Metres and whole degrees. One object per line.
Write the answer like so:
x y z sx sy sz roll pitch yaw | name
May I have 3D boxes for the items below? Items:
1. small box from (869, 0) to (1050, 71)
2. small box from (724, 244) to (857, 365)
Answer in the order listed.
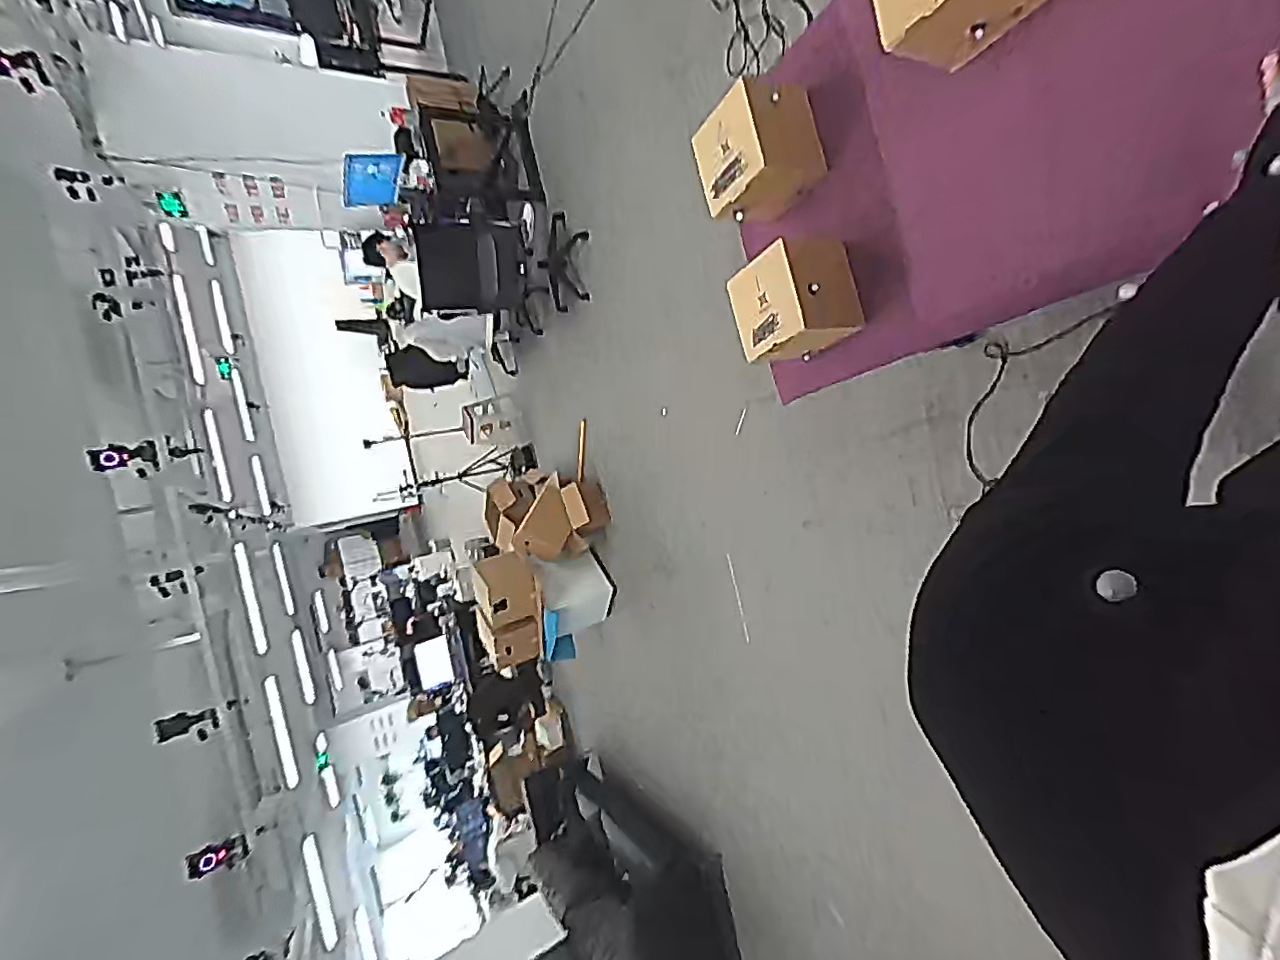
0.425 -0.696 0.721 0.168 0.176 0.179 -12 92 60 | small box
0.297 -0.342 1.067 0.168 0.176 0.179 -21 81 60 | small box
